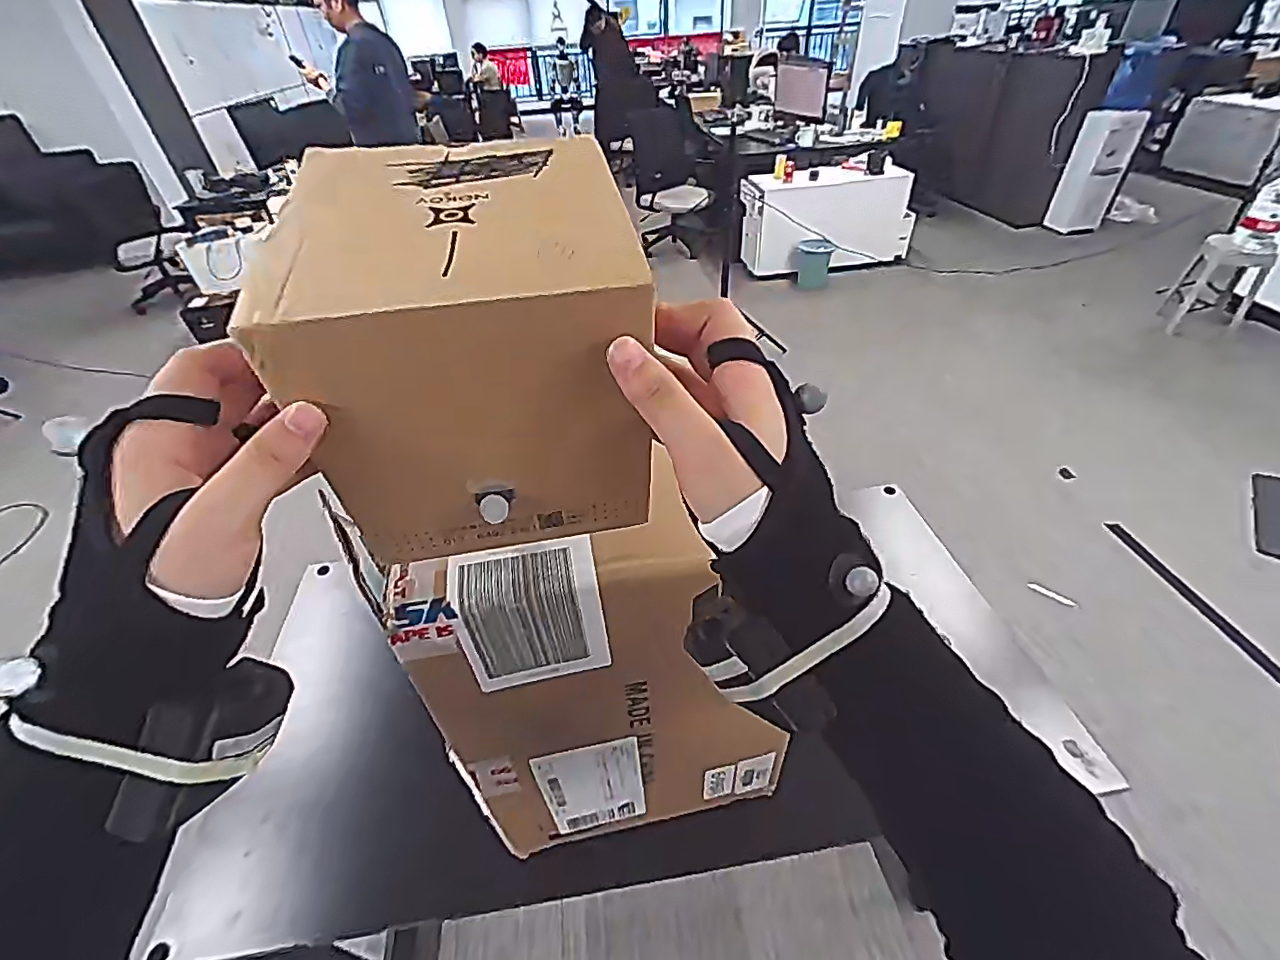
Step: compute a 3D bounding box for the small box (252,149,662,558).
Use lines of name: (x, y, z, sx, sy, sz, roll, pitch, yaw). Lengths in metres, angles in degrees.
small box: (-0.087, -0.078, 0.332, 0.168, 0.176, 0.179, -9, 51, -7)
